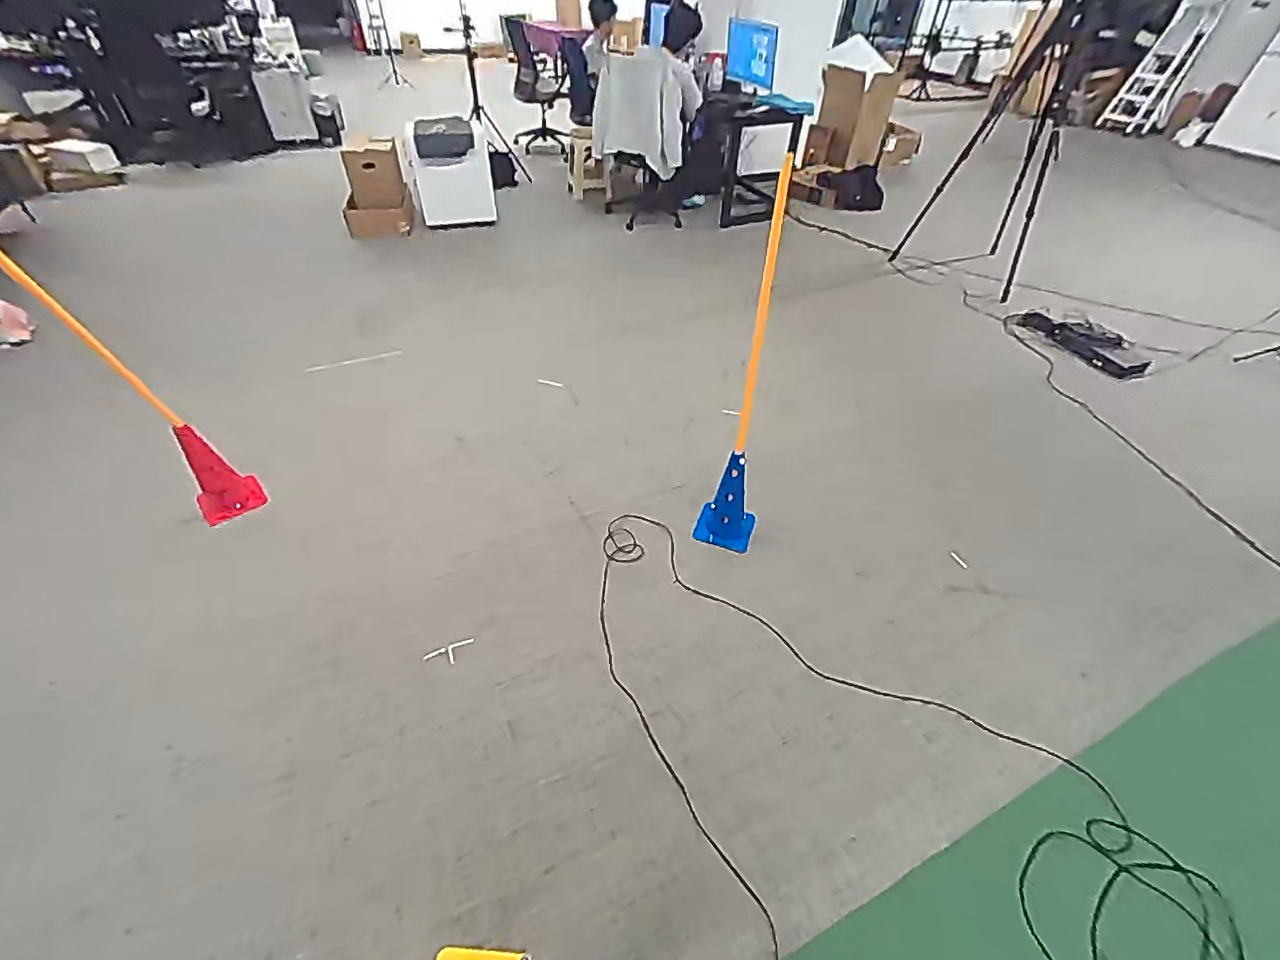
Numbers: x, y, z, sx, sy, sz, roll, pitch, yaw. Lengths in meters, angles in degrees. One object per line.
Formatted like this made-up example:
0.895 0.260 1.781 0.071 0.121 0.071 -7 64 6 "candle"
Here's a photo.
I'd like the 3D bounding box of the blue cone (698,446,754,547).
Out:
0.321 0.040 1.874 0.192 0.380 0.193 14 43 13 "blue cone"
